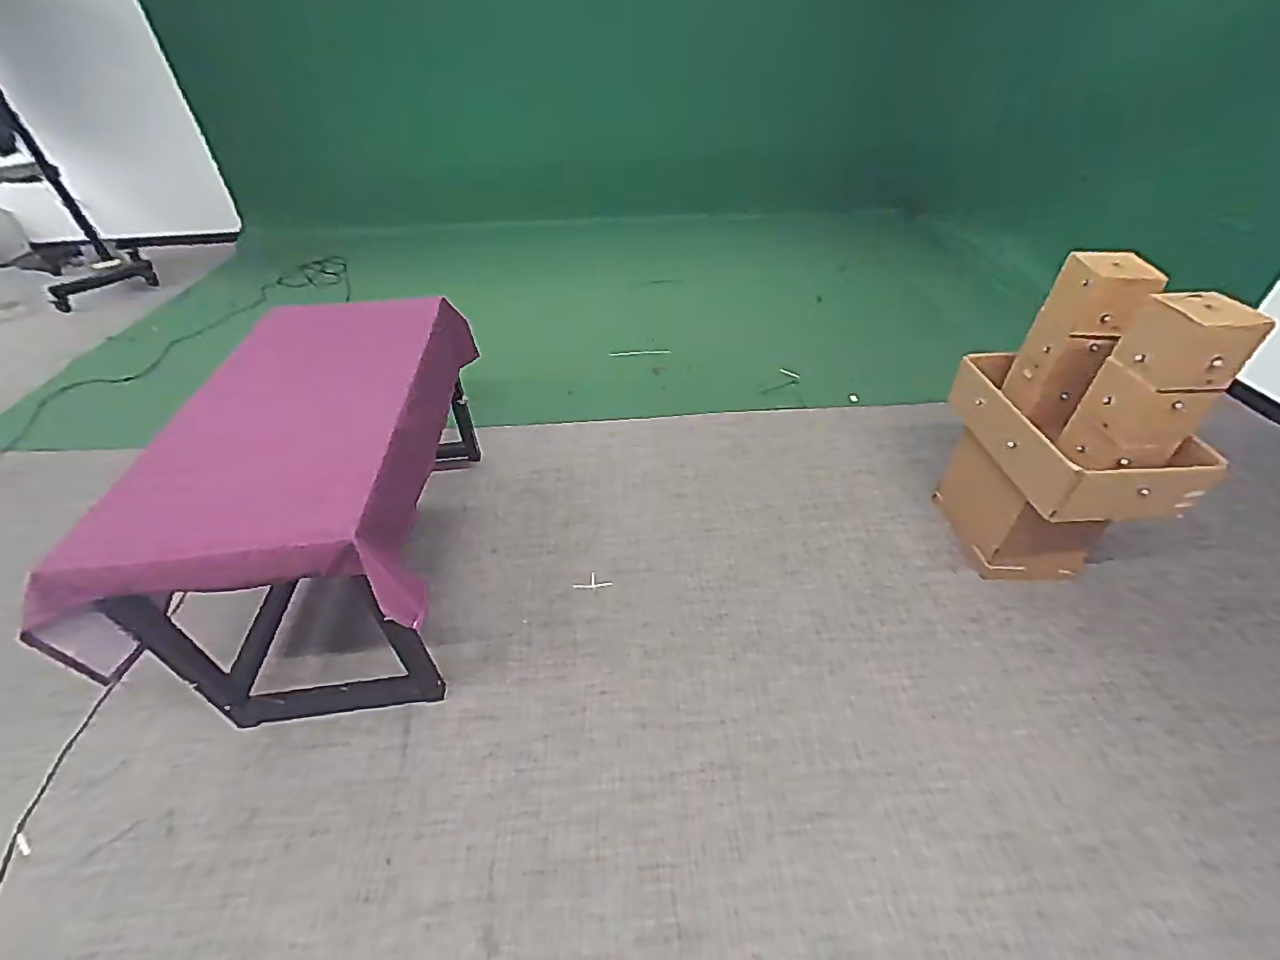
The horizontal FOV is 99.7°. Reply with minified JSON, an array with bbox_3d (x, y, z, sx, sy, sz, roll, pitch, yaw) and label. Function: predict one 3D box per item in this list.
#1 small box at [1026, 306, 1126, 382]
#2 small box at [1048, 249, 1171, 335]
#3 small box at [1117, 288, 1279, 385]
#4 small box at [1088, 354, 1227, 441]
[{"bbox_3d":[1.294,-0.406,1.612,0.179,0.176,0.168,1,43,3],"label":"small box"},{"bbox_3d":[1.285,-0.523,1.499,0.168,0.176,0.179,3,45,6],"label":"small box"},{"bbox_3d":[1.303,-0.335,1.278,0.168,0.176,0.179,-2,42,1],"label":"small box"},{"bbox_3d":[1.306,-0.213,1.389,0.179,0.176,0.168,-2,42,0],"label":"small box"}]
